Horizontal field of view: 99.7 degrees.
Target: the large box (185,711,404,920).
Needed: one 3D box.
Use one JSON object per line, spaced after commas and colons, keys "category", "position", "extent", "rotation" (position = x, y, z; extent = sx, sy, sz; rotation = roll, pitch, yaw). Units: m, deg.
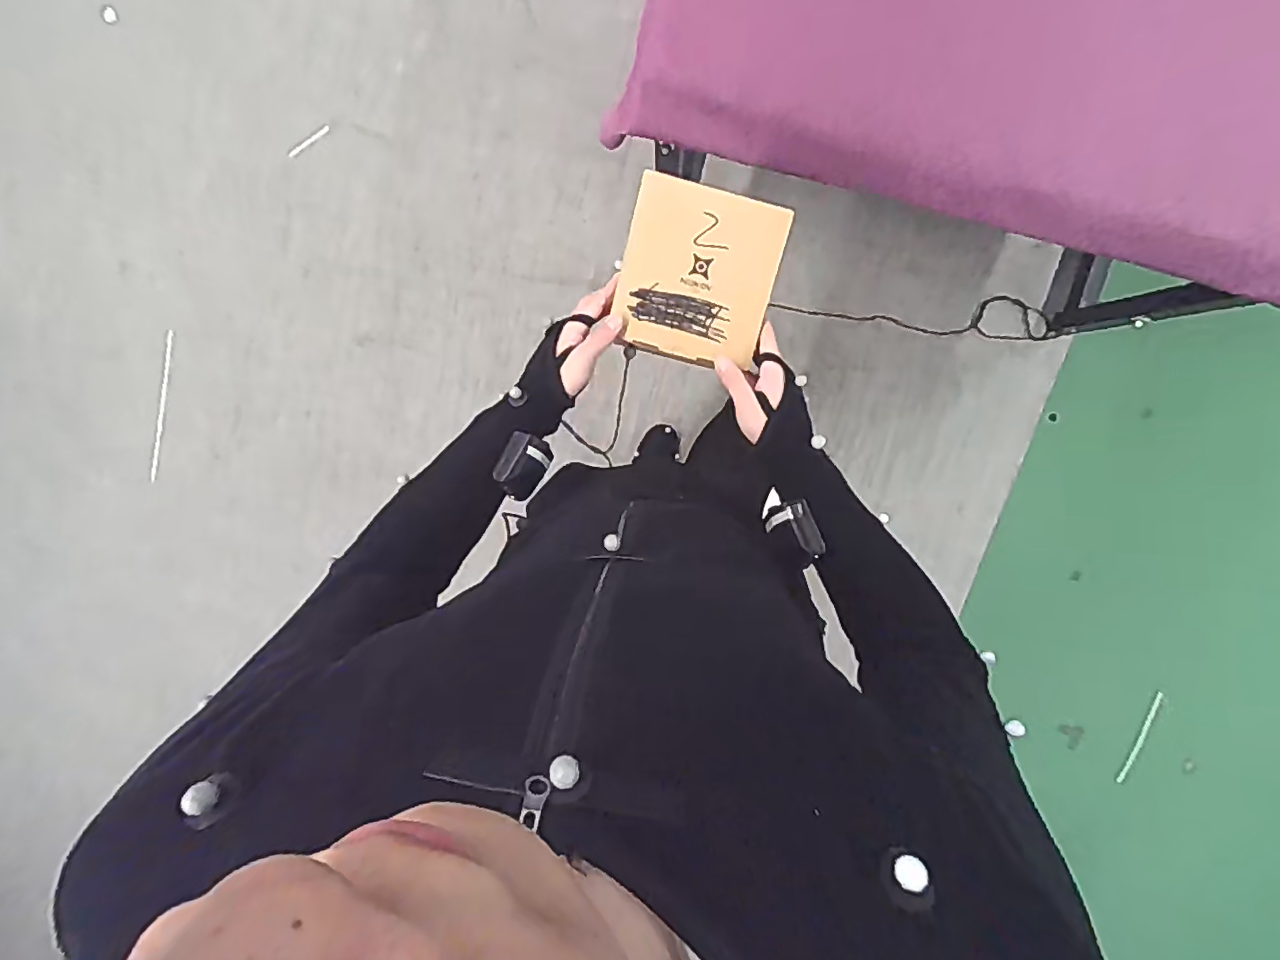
{"category": "large box", "position": [-1.038, 1.010, 1.669], "extent": [0.408, 0.320, 0.320], "rotation": [39, 99, -5]}
